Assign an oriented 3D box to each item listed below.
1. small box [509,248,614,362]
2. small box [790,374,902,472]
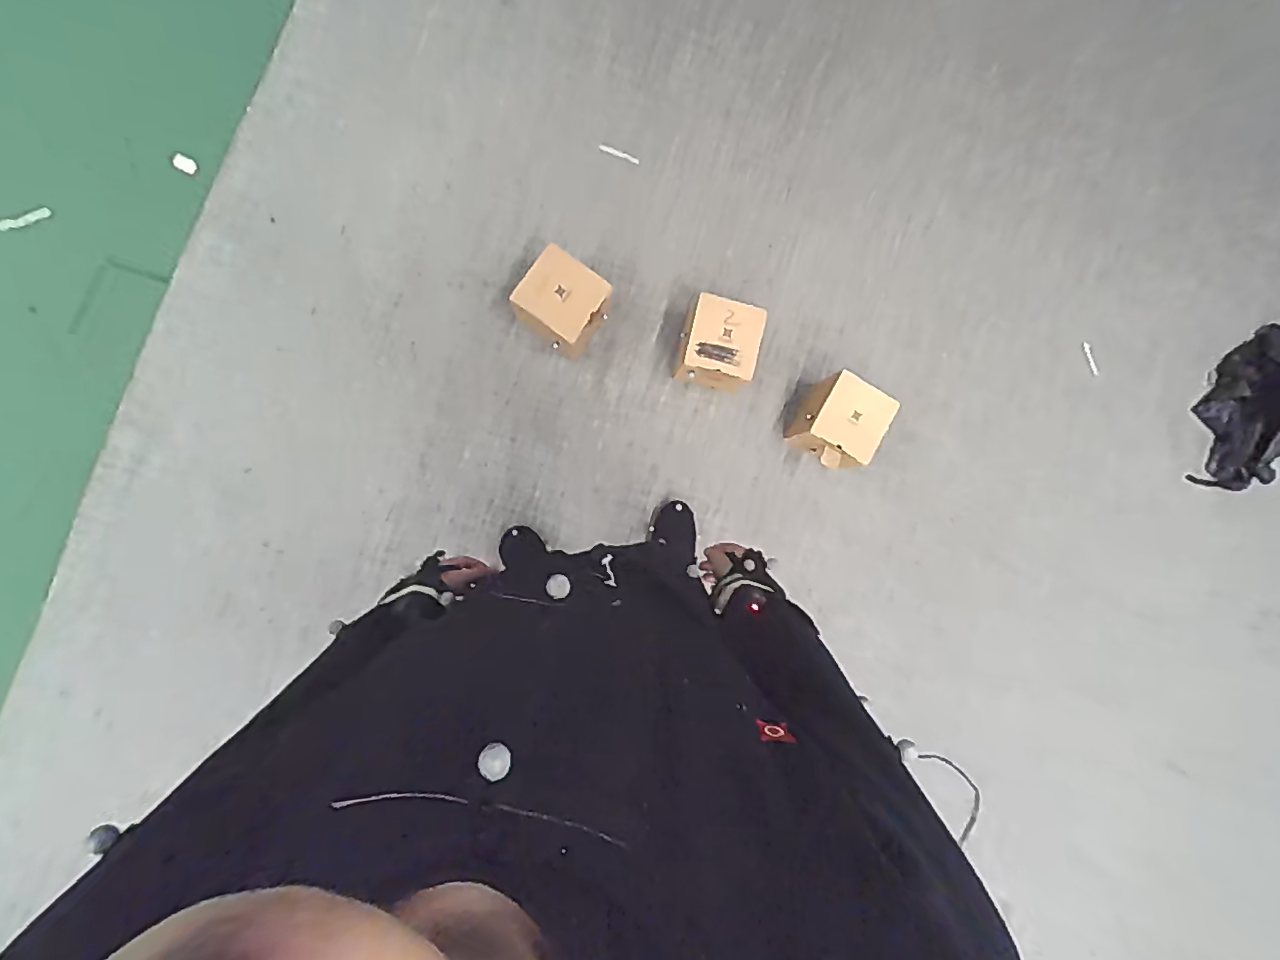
[{"bbox_3d":[-0.180,-0.400,1.276,0.179,0.176,0.168,35,84,-3],"label":"small box"},{"bbox_3d":[0.499,-0.134,1.340,0.168,0.176,0.179,30,86,-5],"label":"small box"}]
